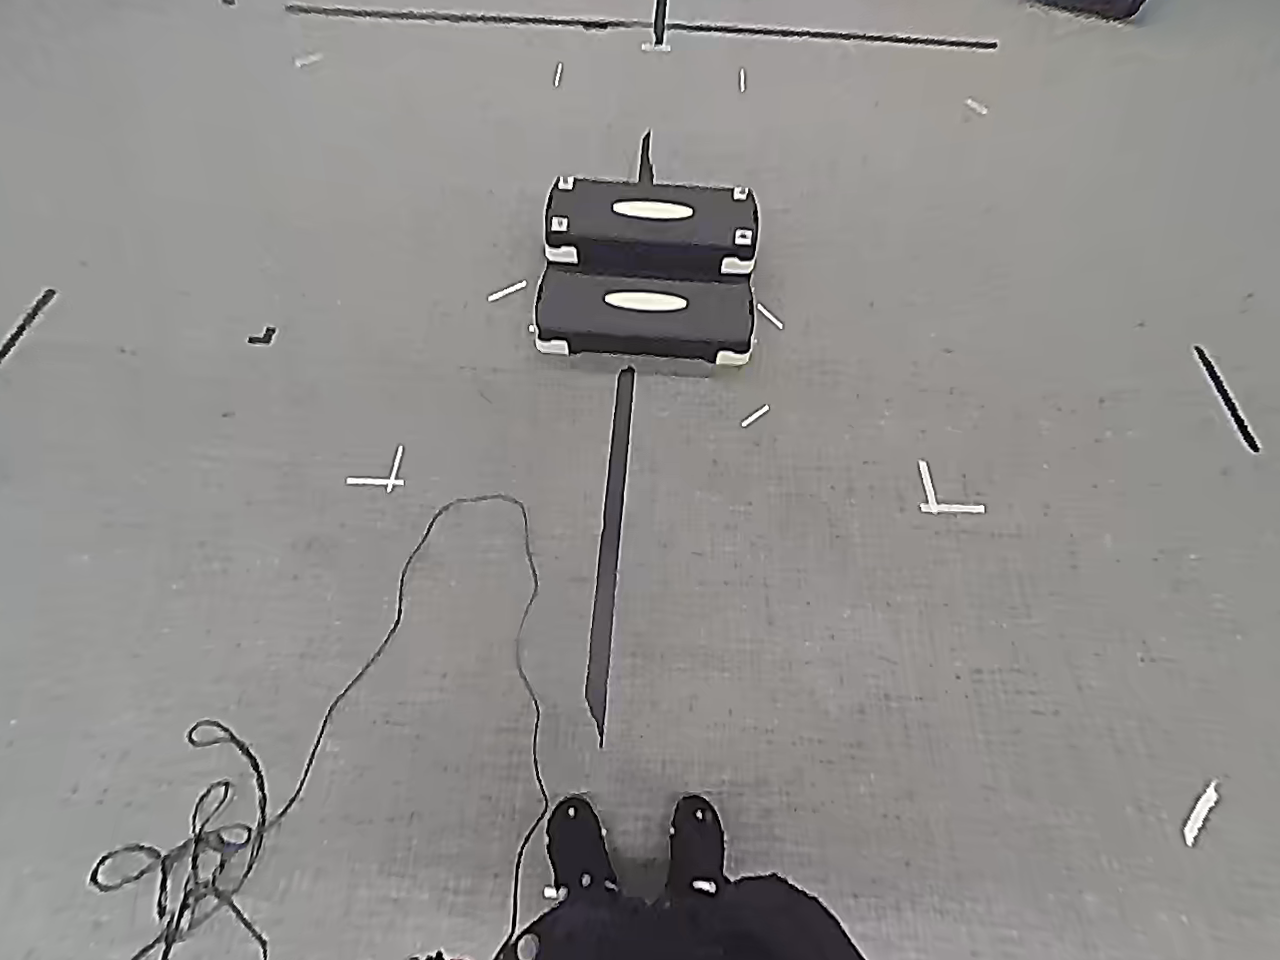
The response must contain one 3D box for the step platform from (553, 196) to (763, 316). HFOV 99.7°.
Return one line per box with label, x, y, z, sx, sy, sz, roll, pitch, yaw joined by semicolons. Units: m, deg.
step platform;0.058;-0.746;1.796;0.684;0.204;0.286;7;62;2
